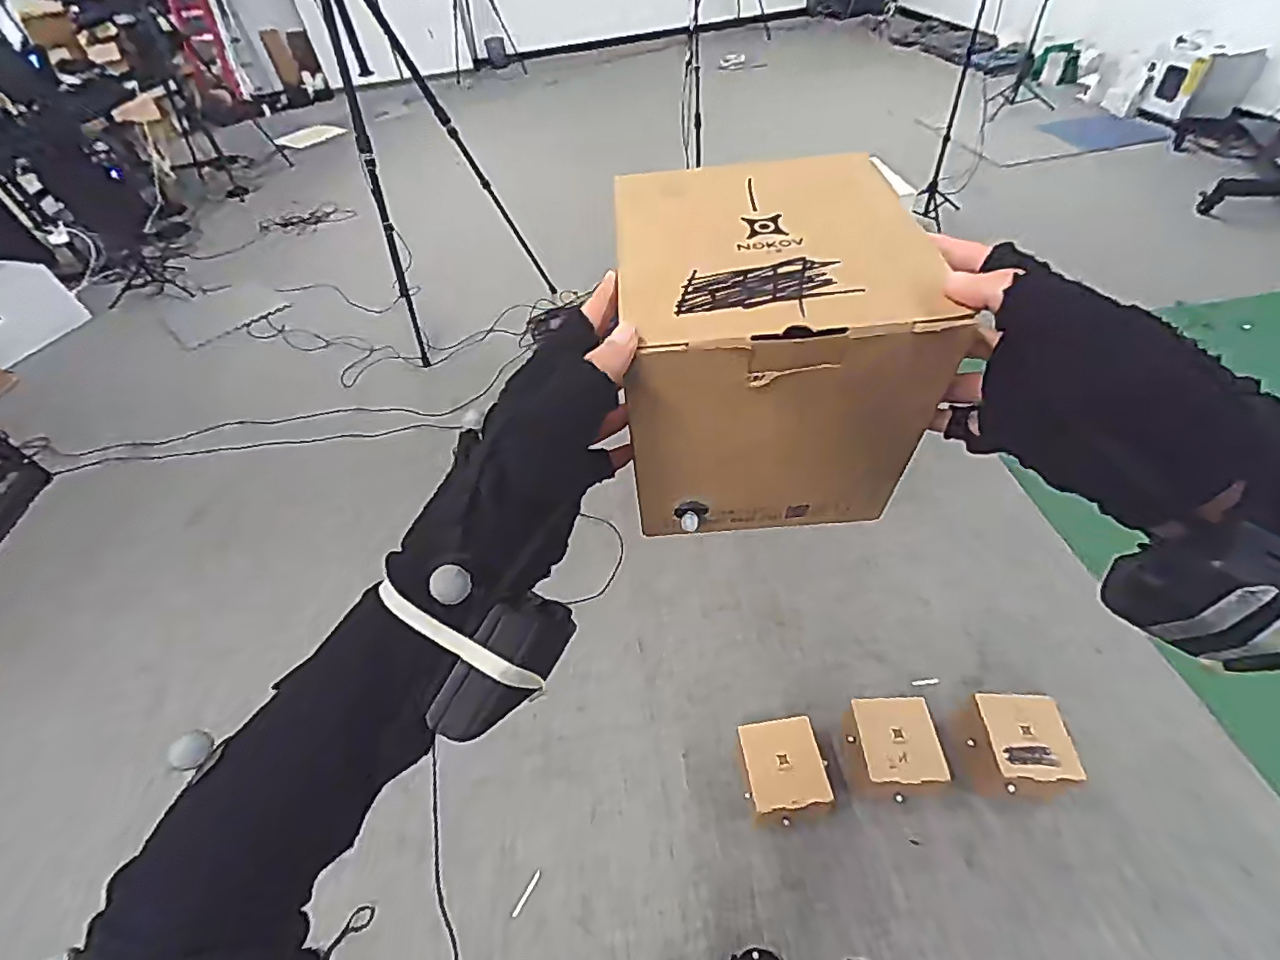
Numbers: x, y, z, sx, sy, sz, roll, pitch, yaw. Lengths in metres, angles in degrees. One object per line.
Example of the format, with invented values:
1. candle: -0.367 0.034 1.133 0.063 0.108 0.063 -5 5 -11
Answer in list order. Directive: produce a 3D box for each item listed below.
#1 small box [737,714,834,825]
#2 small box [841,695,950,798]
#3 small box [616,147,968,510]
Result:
1. small box: 0.322 0.663 1.236 0.168 0.176 0.179 -10 48 0
2. small box: 0.574 0.614 1.244 0.168 0.176 0.179 -4 49 5
3. small box: 0.075 -0.091 0.364 0.168 0.176 0.179 -4 52 2
